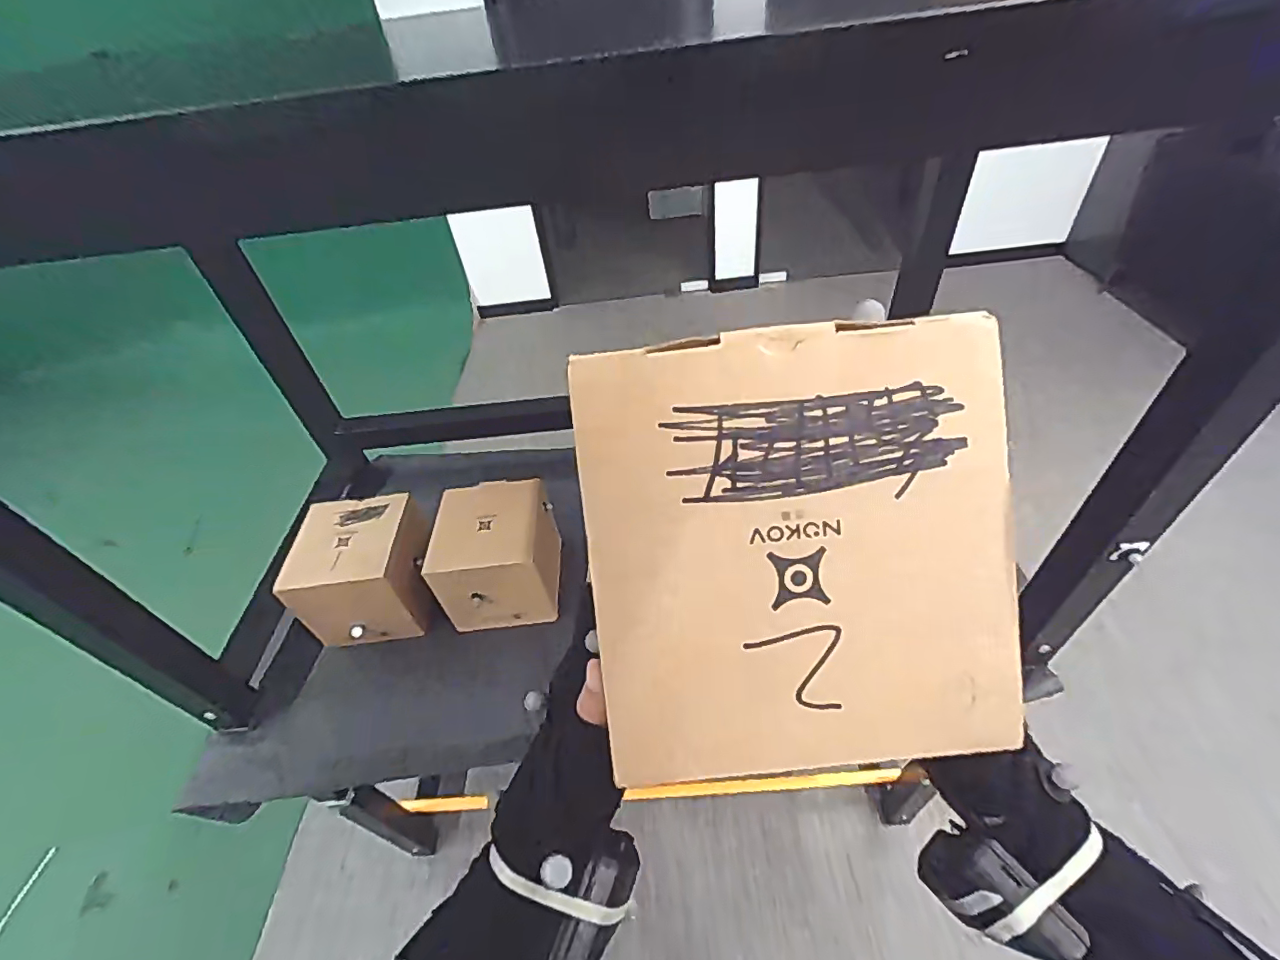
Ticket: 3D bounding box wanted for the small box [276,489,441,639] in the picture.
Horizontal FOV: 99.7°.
[{"bbox_3d":[-0.448,0.140,0.898,0.168,0.176,0.179,-7,45,1],"label":"small box"}]
